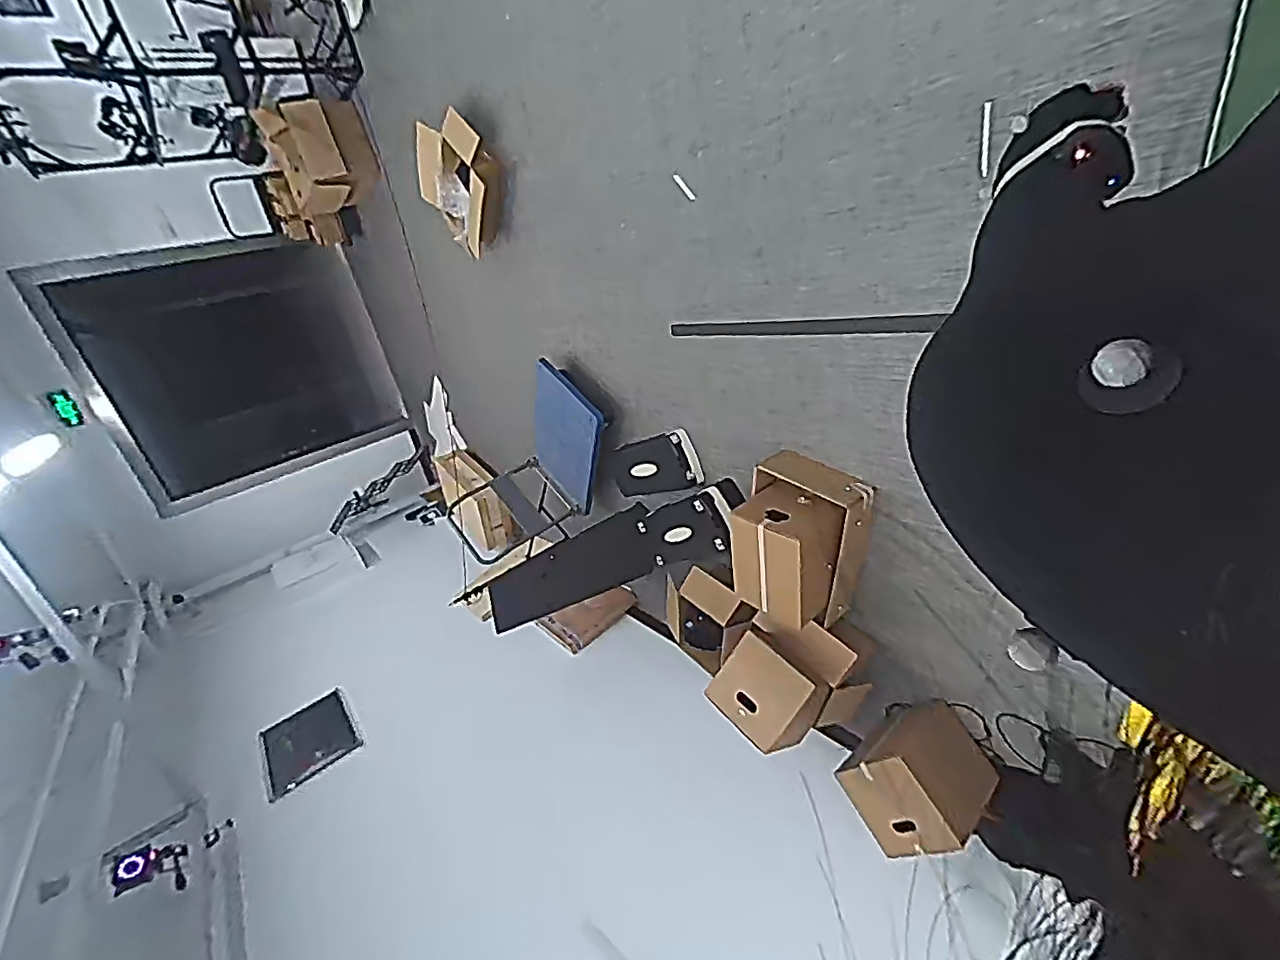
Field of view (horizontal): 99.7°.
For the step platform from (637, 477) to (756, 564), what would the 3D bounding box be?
[{"bbox_3d":[0.250,0.220,2.660,0.286,0.204,0.684,61,148,1],"label":"step platform"}]
